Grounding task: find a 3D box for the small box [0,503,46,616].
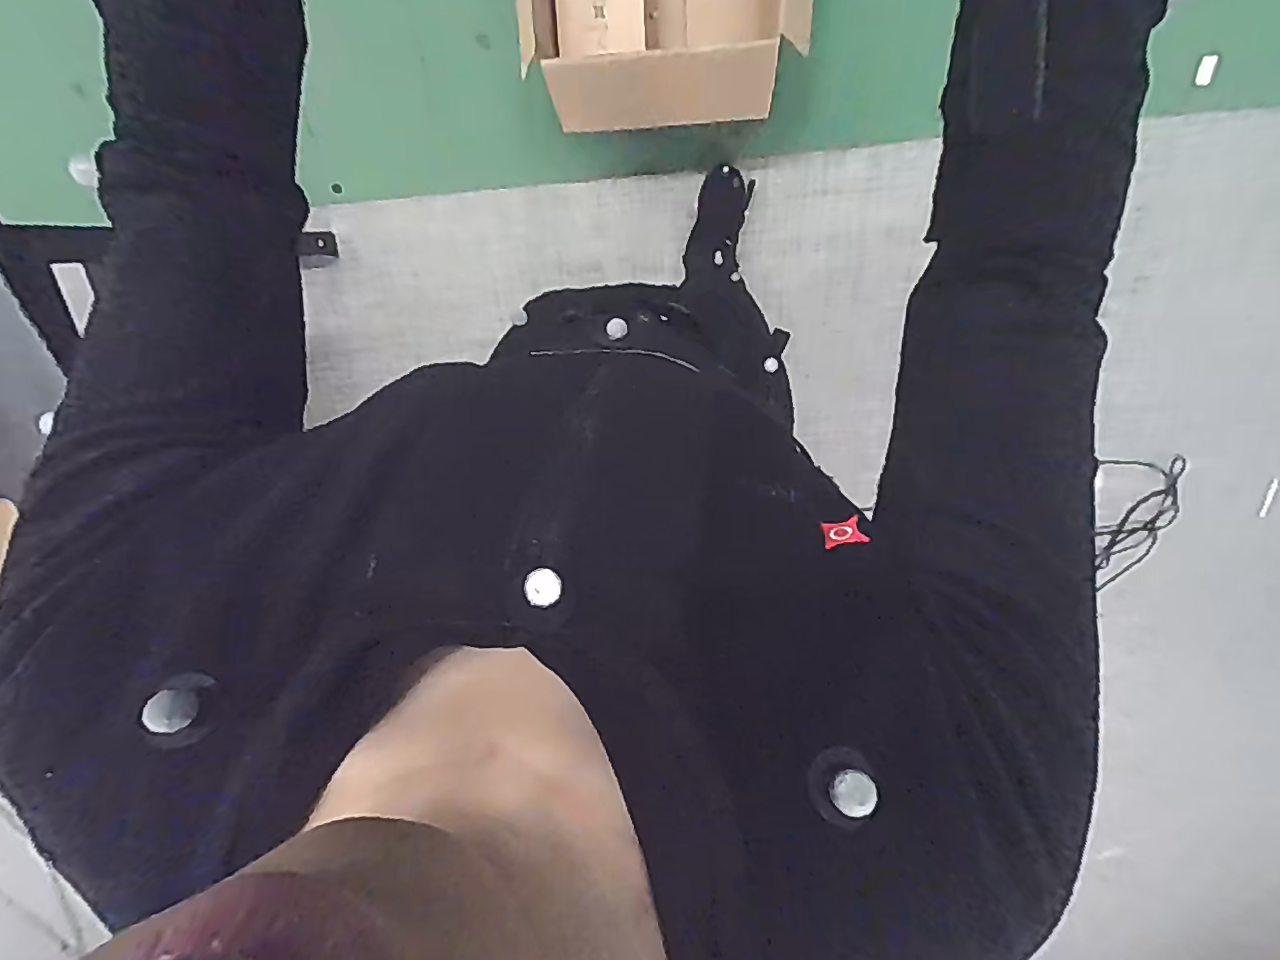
[{"bbox_3d":[-1.071,0.138,0.812,0.179,0.176,0.168,-2,113,8],"label":"small box"}]
